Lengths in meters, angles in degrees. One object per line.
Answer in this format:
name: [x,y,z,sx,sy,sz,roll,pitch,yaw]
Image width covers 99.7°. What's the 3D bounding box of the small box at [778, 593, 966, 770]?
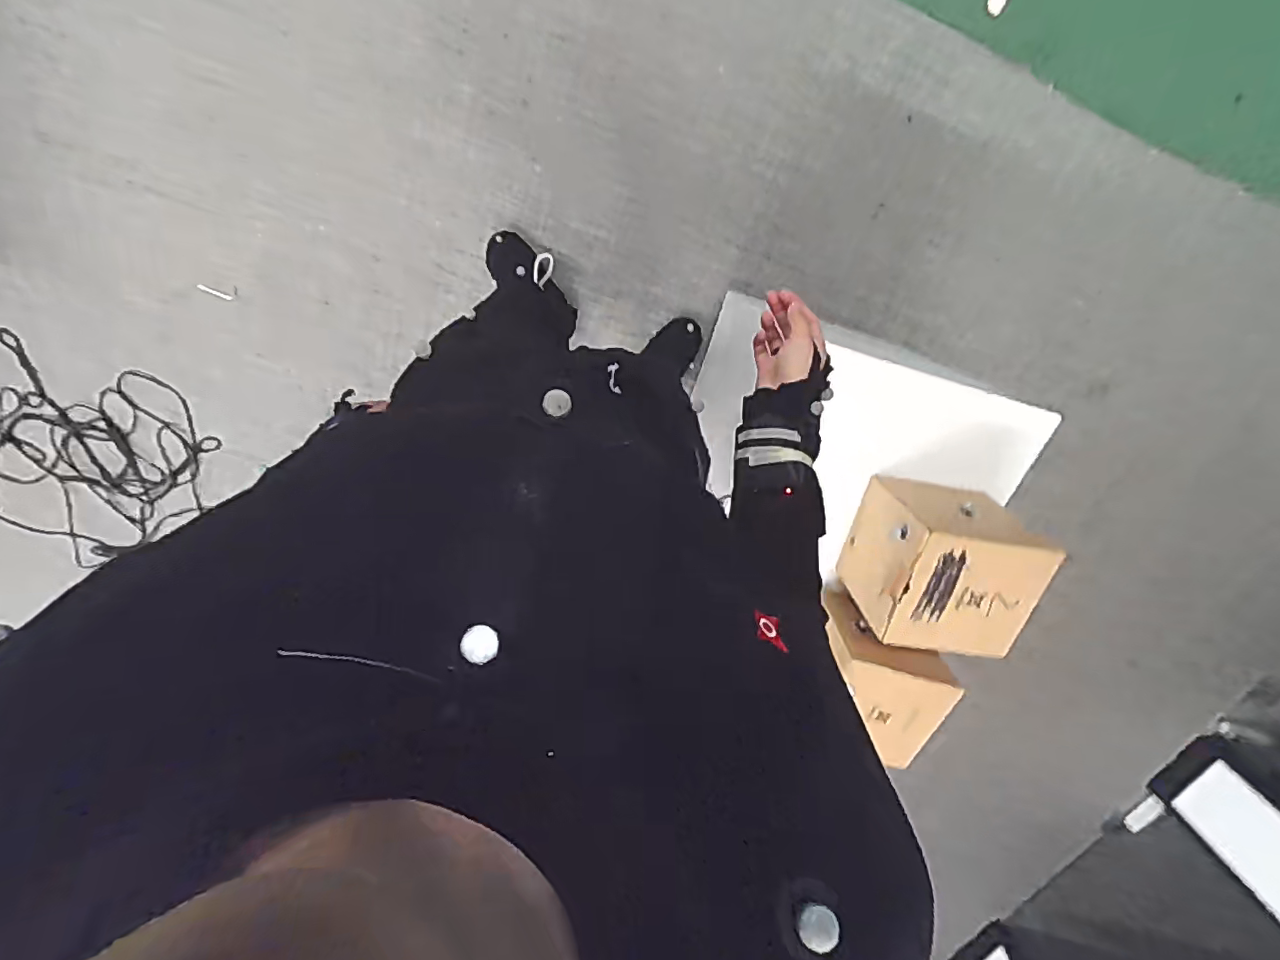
small box: [0.333,0.296,0.820,0.179,0.176,0.168,16,114,-8]
